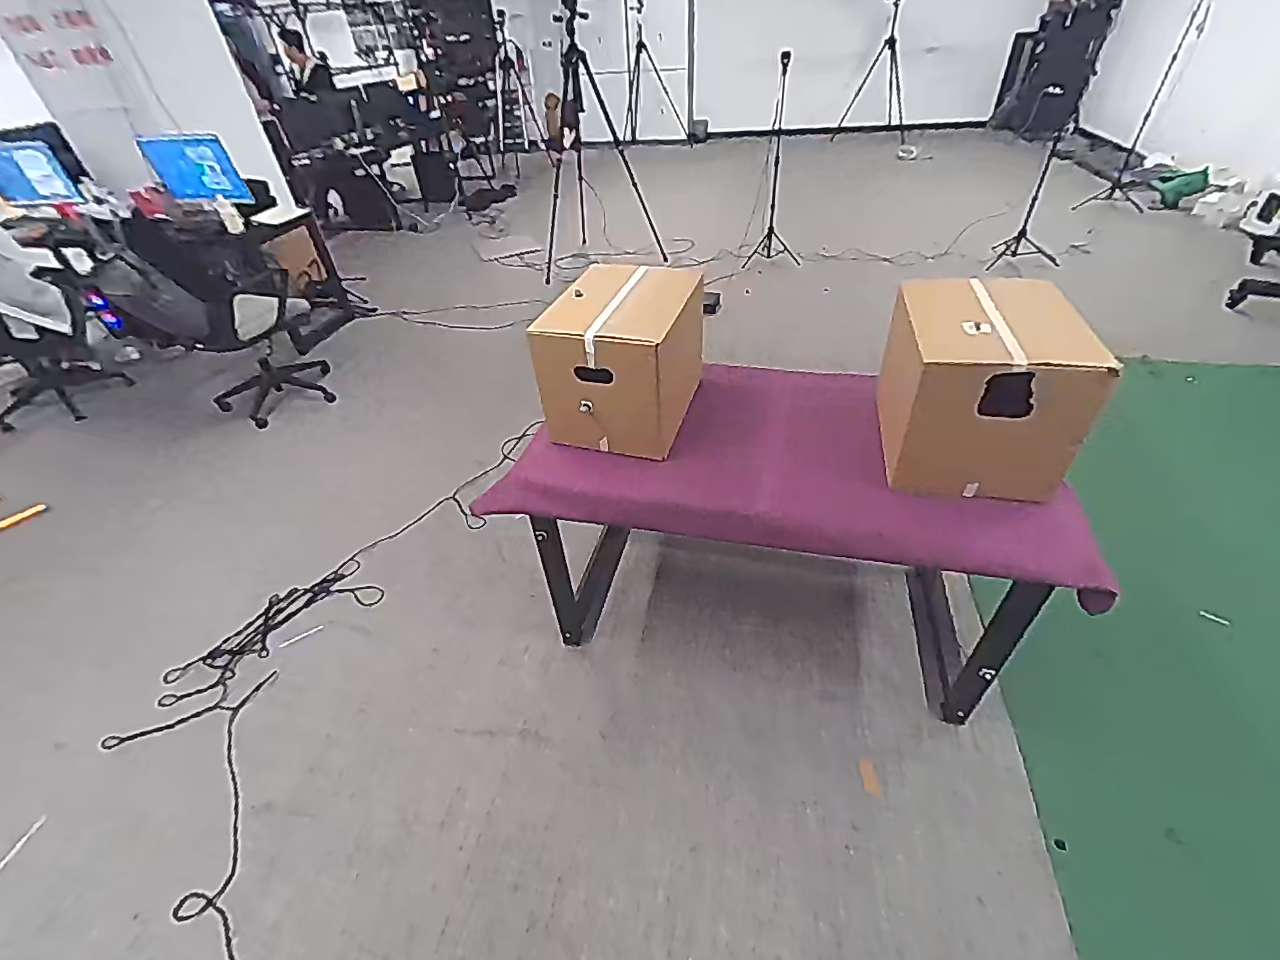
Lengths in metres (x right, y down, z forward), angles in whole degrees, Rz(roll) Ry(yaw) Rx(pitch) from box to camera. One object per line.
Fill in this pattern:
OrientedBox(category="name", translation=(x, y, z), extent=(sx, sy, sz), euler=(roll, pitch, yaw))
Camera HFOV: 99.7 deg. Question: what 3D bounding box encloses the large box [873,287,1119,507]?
OrientedBox(category="large box", translation=(0.718, -0.195, 1.185), extent=(0.320, 0.320, 0.408), euler=(4, 41, 14))
